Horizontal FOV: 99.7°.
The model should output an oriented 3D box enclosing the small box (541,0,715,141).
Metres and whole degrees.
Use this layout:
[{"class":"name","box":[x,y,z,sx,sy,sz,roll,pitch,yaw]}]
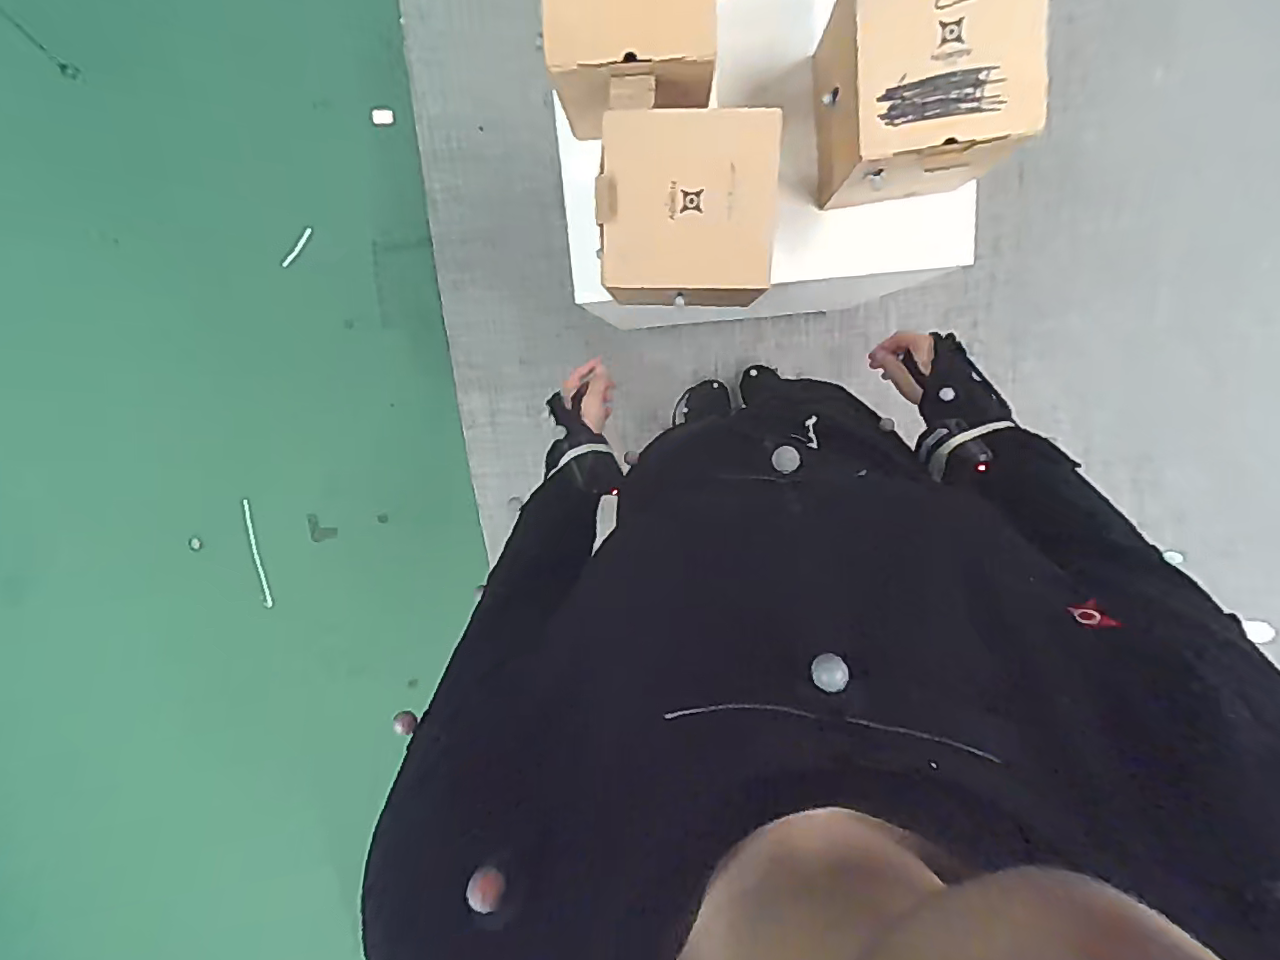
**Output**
[{"class":"small box","box":[-0.010,-0.493,0.576,0.168,0.176,0.179,-2,103,3]}]
